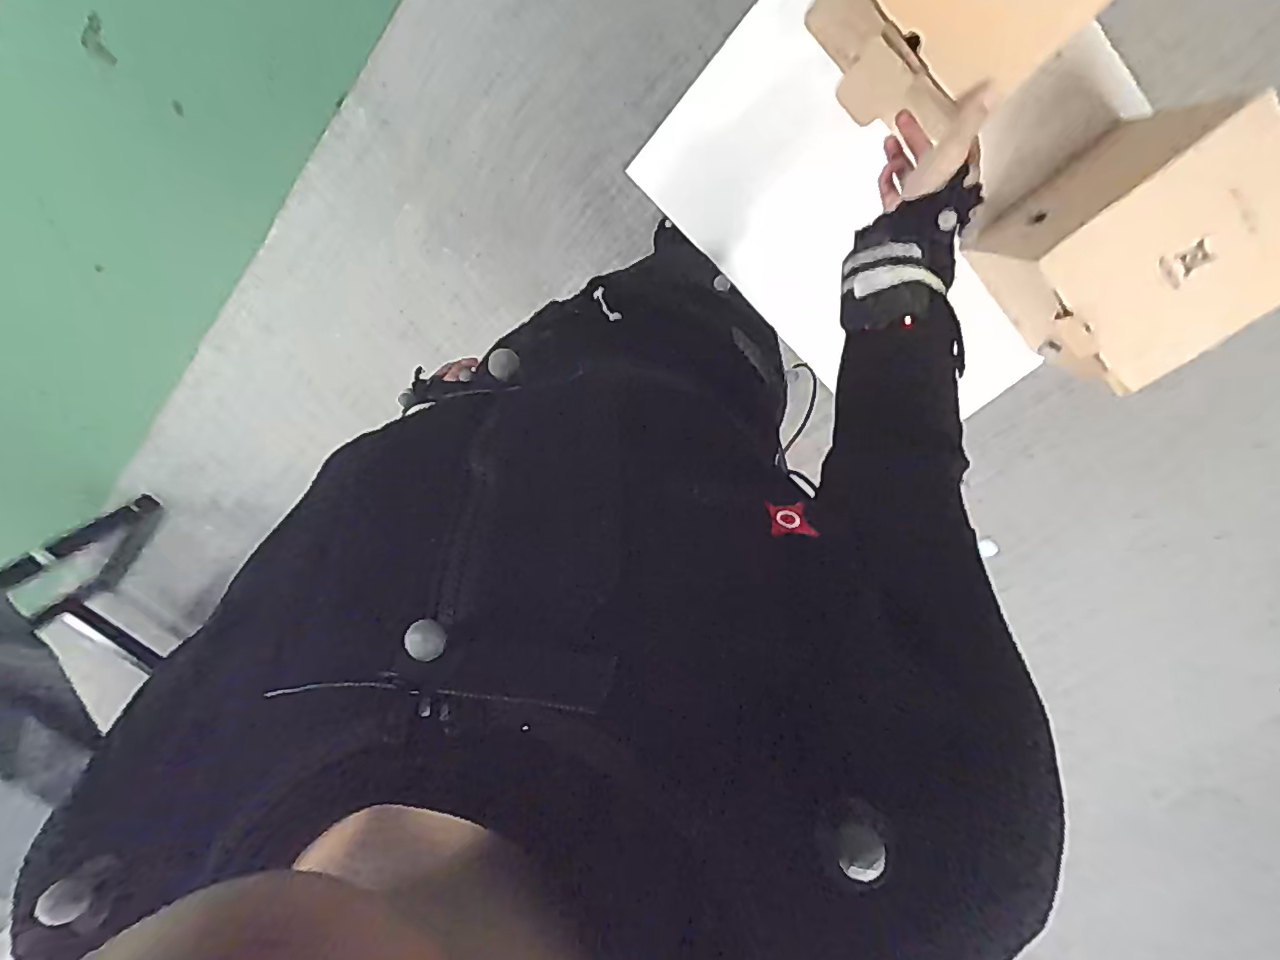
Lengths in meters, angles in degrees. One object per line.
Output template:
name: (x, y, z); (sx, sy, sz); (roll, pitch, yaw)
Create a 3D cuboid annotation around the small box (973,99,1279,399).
small box: (0.460, -0.213, 0.521); (0.179, 0.176, 0.168); (-39, 107, 23)

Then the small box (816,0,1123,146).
small box: (0.272, -0.412, 0.445); (0.168, 0.176, 0.179); (41, 116, -14)
